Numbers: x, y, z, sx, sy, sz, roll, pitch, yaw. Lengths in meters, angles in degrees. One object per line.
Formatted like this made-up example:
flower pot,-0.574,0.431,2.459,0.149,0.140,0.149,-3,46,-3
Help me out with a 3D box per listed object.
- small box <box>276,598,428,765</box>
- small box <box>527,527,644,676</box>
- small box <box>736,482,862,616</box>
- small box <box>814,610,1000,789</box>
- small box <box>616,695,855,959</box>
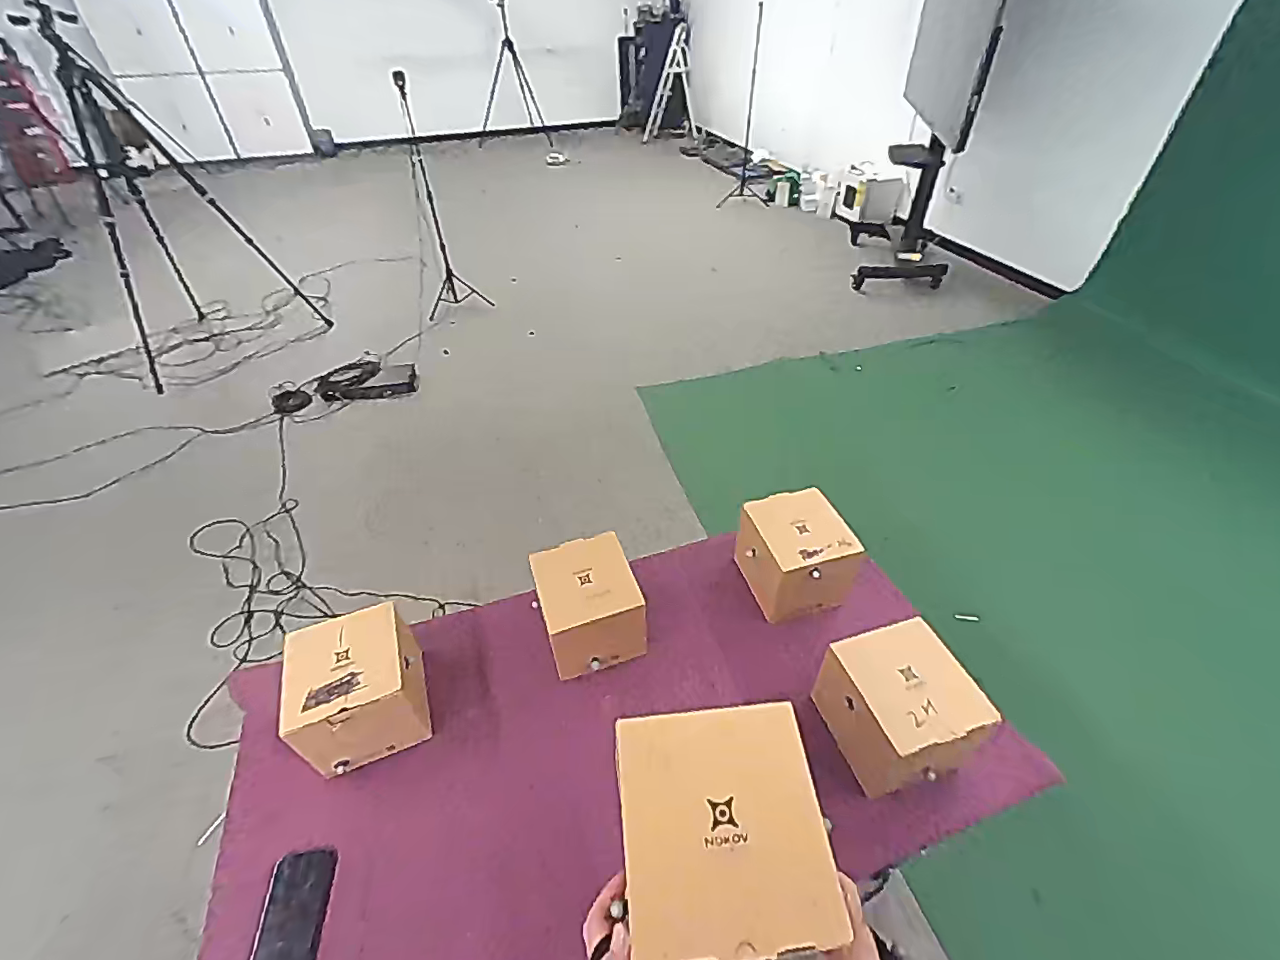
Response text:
small box,-0.454,0.329,0.871,0.168,0.176,0.179,-17,44,-16
small box,-0.098,0.219,0.981,0.168,0.176,0.179,-15,45,-13
small box,0.297,0.133,1.057,0.168,0.176,0.179,-13,43,-11
small box,0.390,0.335,0.830,0.168,0.176,0.179,-13,44,-10
small box,0.064,0.317,0.495,0.168,0.176,0.179,-4,52,-4
